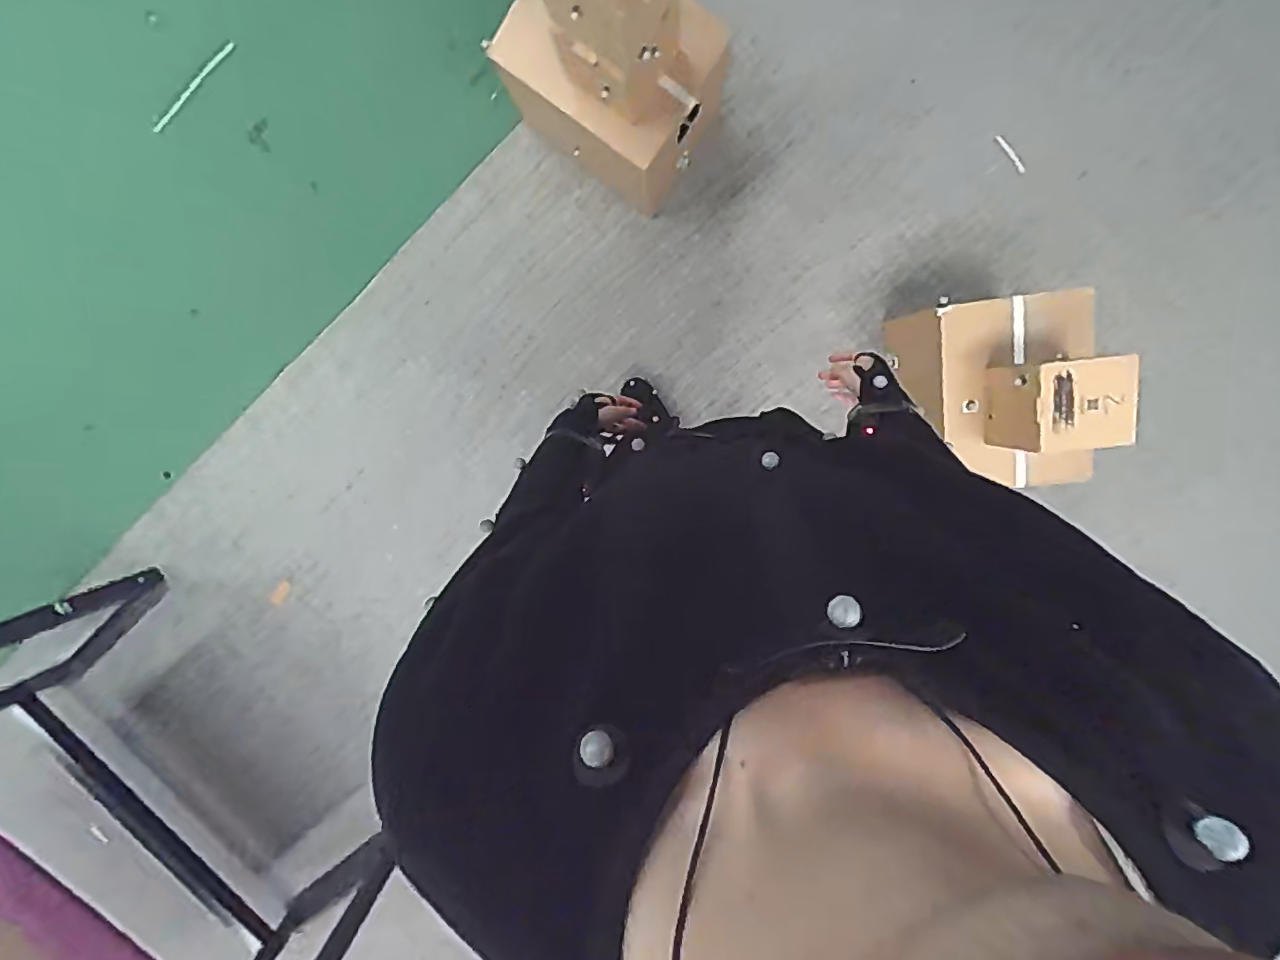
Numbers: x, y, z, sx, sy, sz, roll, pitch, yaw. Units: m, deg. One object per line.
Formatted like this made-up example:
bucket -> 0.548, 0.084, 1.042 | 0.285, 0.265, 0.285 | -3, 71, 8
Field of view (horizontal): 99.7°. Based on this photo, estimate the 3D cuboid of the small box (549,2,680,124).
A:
small box -> -0.037, -0.809, 0.994 | 0.168, 0.176, 0.179 | 36, 99, -3

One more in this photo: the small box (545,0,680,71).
small box -> -0.041, -0.784, 0.833 | 0.179, 0.176, 0.168 | 34, 100, -2

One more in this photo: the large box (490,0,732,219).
large box -> -0.050, -0.882, 1.231 | 0.408, 0.320, 0.320 | 35, 98, -1
